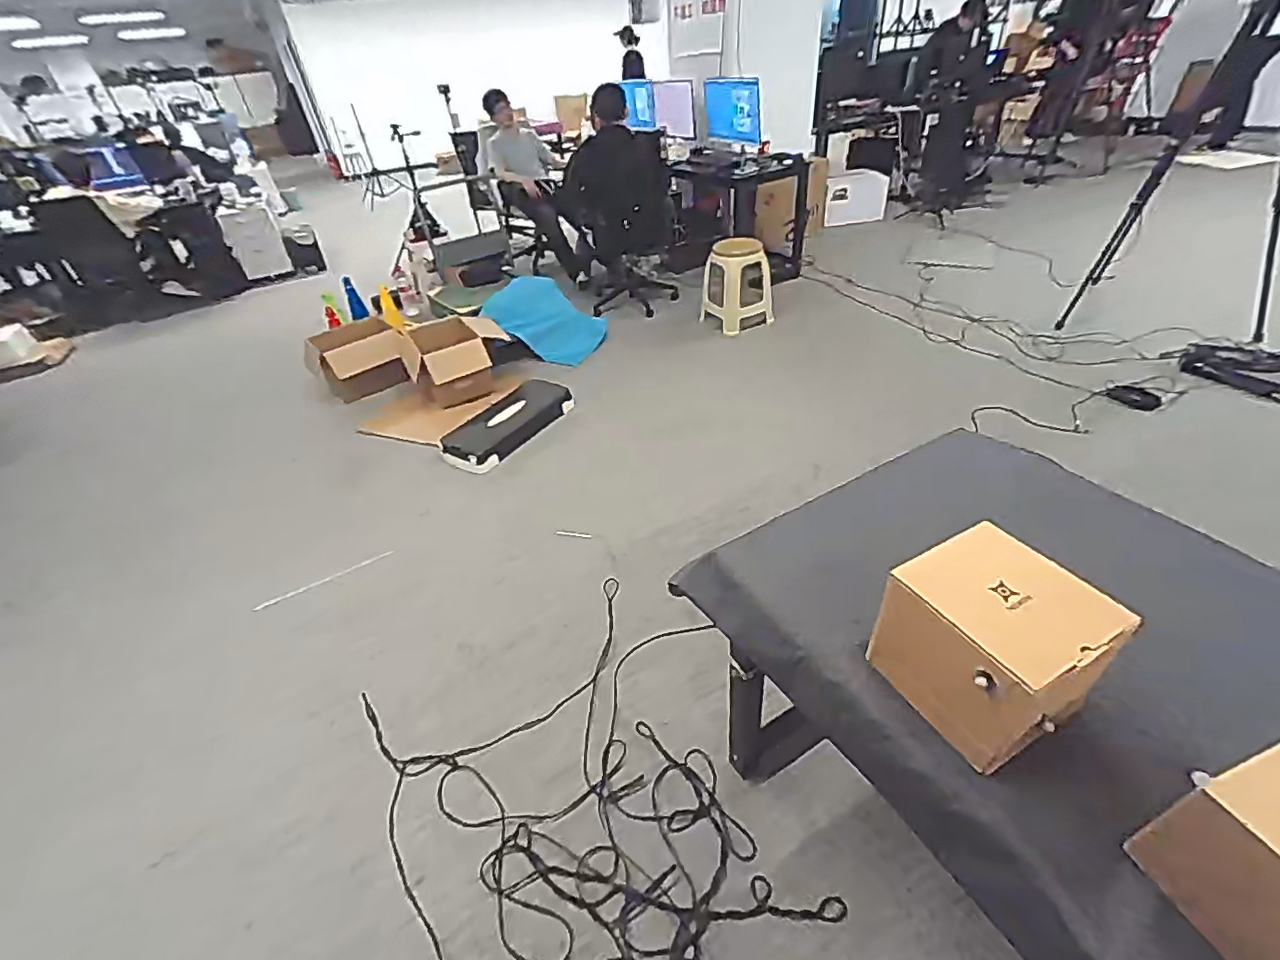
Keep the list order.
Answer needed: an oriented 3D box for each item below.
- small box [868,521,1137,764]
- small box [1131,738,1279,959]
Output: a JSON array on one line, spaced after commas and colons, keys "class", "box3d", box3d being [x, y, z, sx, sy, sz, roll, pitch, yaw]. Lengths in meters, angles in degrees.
[{"class": "small box", "box3d": [0.397, 0.183, 0.628, 0.168, 0.176, 0.179, -21, 41, -19]}, {"class": "small box", "box3d": [0.554, 0.315, 0.418, 0.168, 0.176, 0.179, -20, 40, -7]}]
